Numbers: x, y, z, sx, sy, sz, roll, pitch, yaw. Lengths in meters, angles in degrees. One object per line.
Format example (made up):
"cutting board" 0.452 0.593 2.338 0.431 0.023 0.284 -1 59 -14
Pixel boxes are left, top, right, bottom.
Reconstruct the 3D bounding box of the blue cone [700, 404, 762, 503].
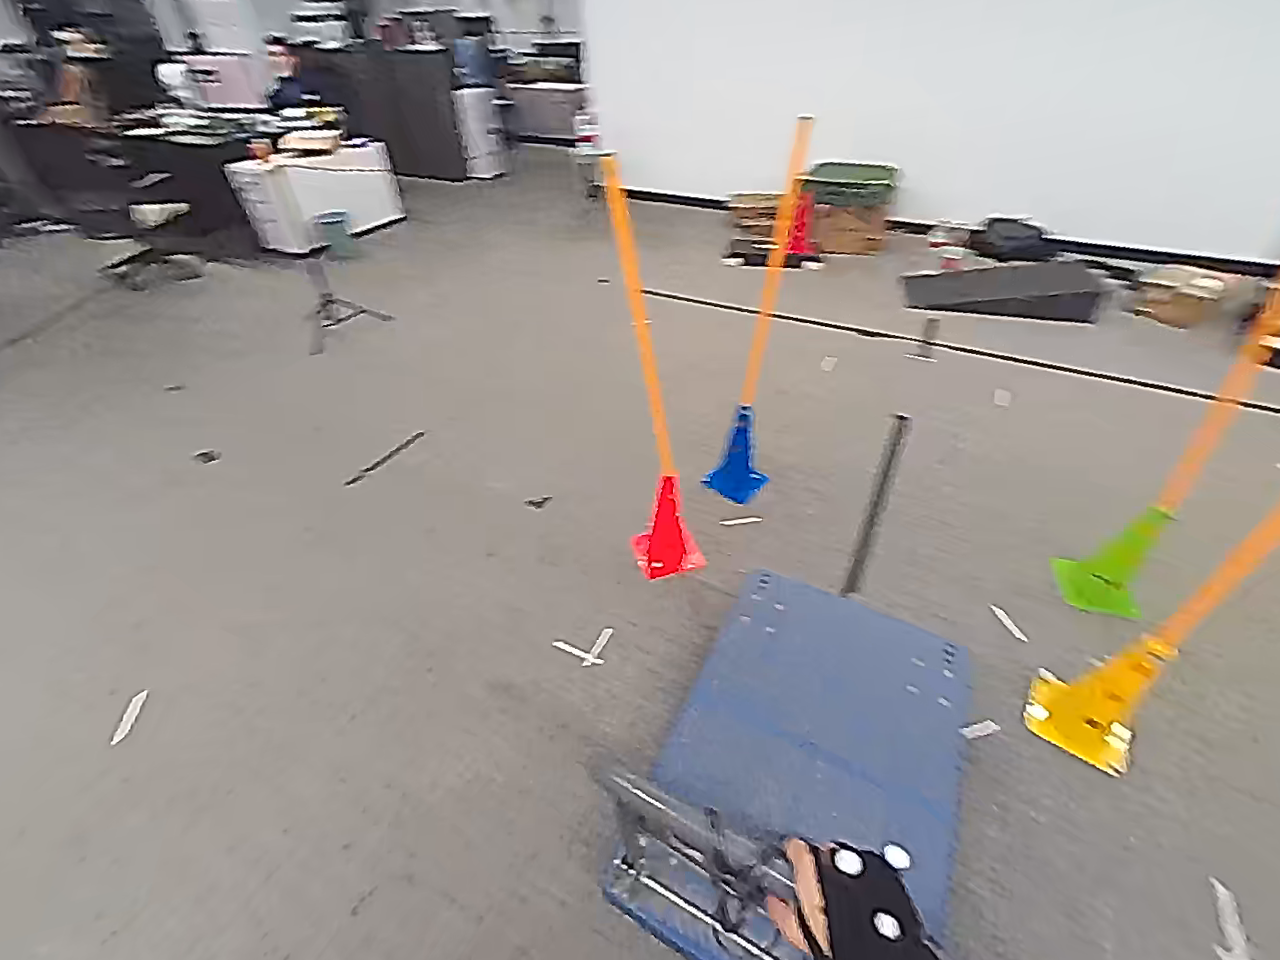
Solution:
"blue cone" 0.353 -0.119 1.988 0.193 0.380 0.192 31 51 31

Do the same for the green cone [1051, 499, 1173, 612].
"green cone" 1.420 0.194 1.586 0.200 0.368 0.202 9 43 11

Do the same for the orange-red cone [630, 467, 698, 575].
"orange-red cone" 0.081 0.104 1.717 0.199 0.360 0.198 -11 43 -13
